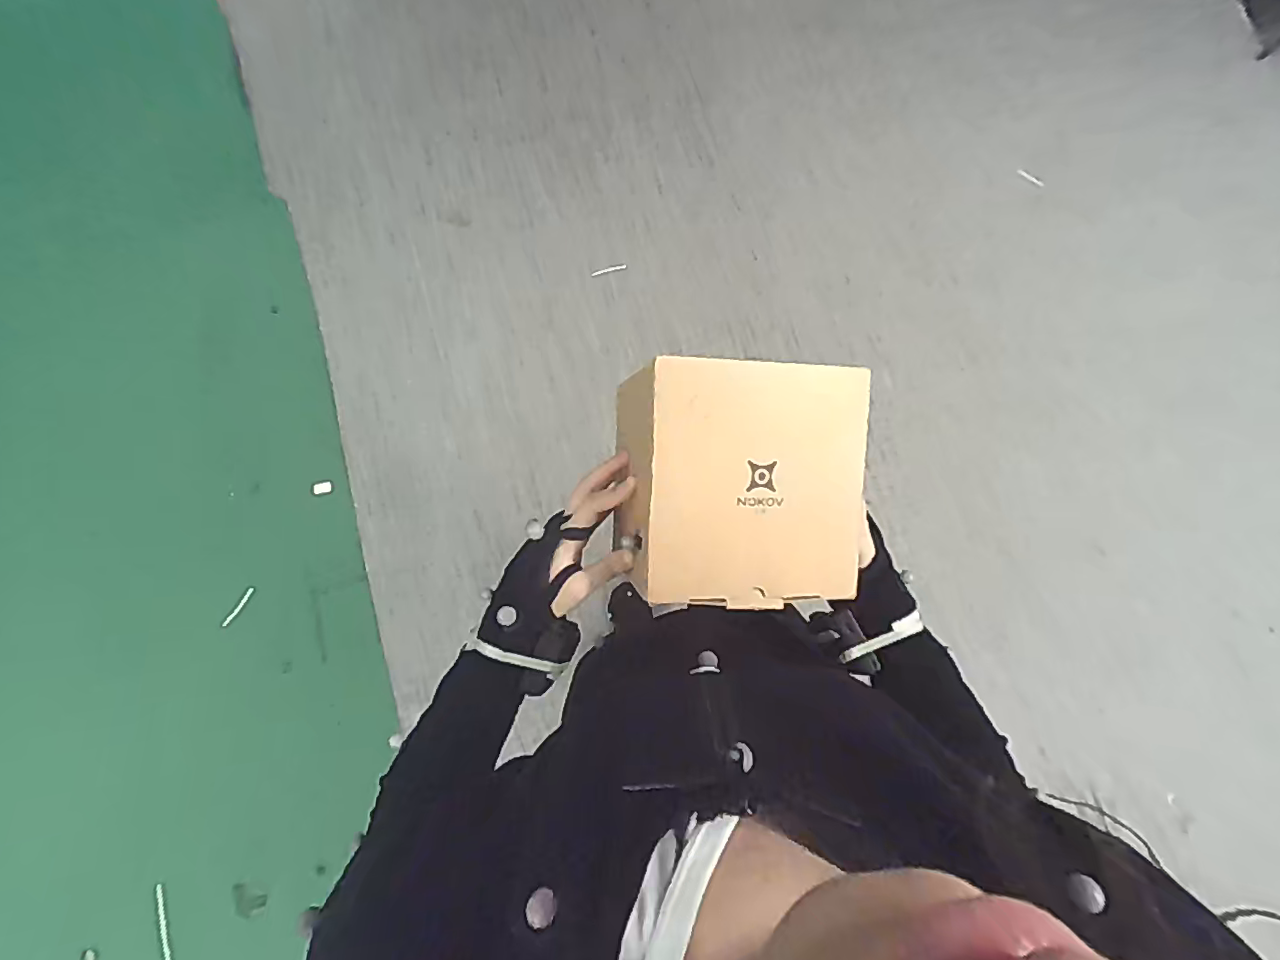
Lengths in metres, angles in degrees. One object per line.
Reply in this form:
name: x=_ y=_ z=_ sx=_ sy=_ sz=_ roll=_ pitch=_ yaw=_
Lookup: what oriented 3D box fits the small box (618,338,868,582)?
small box: x=0.075 y=-0.017 z=0.476 sx=0.168 sy=0.176 sz=0.179 roll=0 pitch=94 yaw=-12
